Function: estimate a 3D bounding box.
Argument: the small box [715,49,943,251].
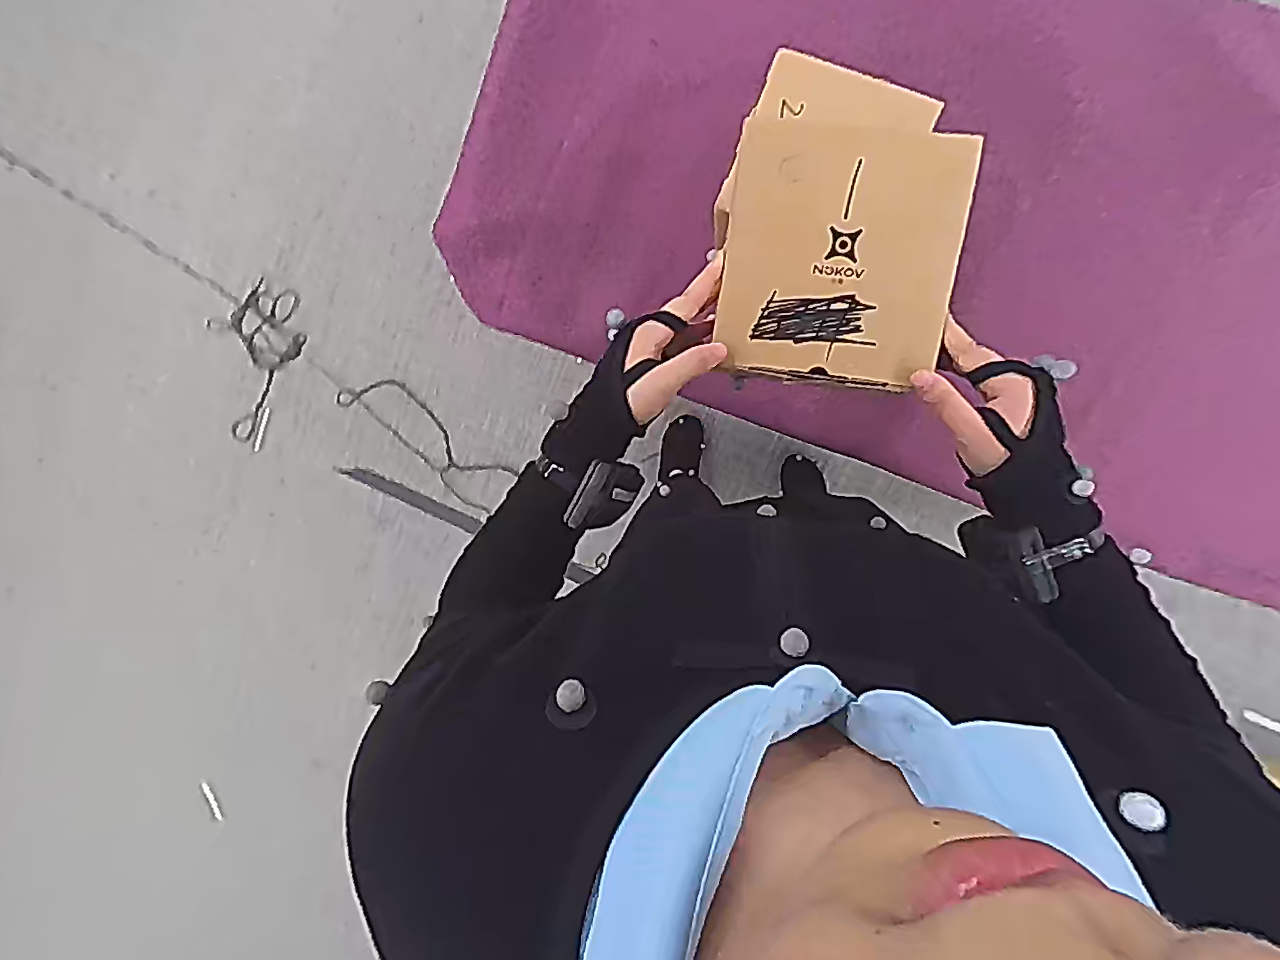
[{"bbox_3d":[0.199,-0.333,0.624,0.179,0.176,0.168,23,99,6],"label":"small box"}]

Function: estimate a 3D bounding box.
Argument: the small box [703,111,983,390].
[{"bbox_3d":[0.151,-0.174,0.465,0.168,0.176,0.179,9,99,5],"label":"small box"}]
